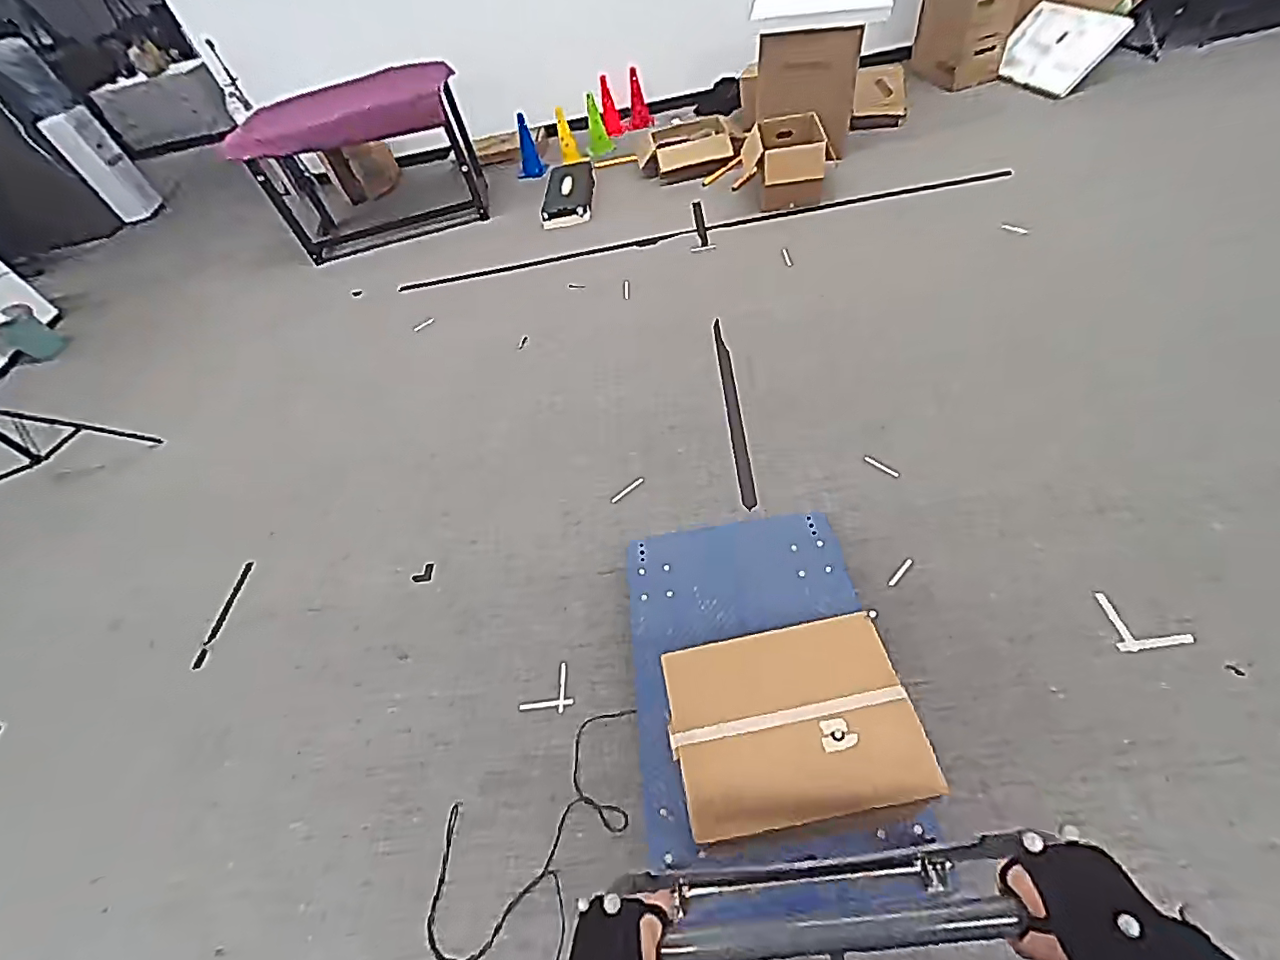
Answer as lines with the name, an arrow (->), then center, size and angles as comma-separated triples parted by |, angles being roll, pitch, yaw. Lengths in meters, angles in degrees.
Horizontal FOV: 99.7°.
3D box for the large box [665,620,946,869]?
large box -> 0.284, 0.518, 1.049 | 0.408, 0.320, 0.320 | -12, 50, 1
